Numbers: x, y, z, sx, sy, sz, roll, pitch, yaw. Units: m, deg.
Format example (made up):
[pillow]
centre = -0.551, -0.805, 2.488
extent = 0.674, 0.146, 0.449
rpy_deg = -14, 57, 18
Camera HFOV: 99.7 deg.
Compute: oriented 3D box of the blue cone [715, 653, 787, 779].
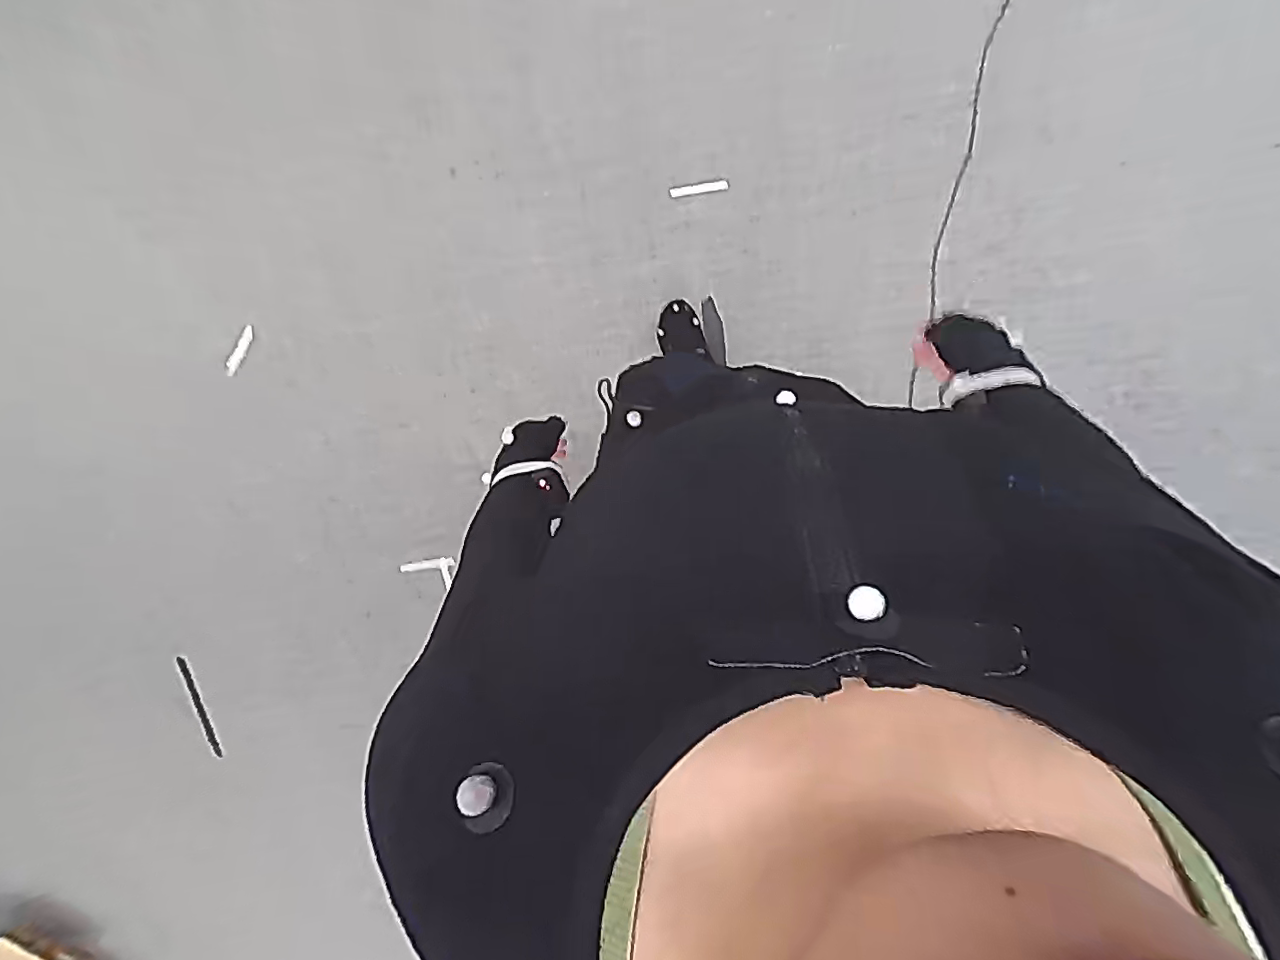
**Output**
[blue cone]
centre = 0.308, 0.644, 1.438
extent = 0.192, 0.380, 0.193
rpy_deg = -12, 102, 9
